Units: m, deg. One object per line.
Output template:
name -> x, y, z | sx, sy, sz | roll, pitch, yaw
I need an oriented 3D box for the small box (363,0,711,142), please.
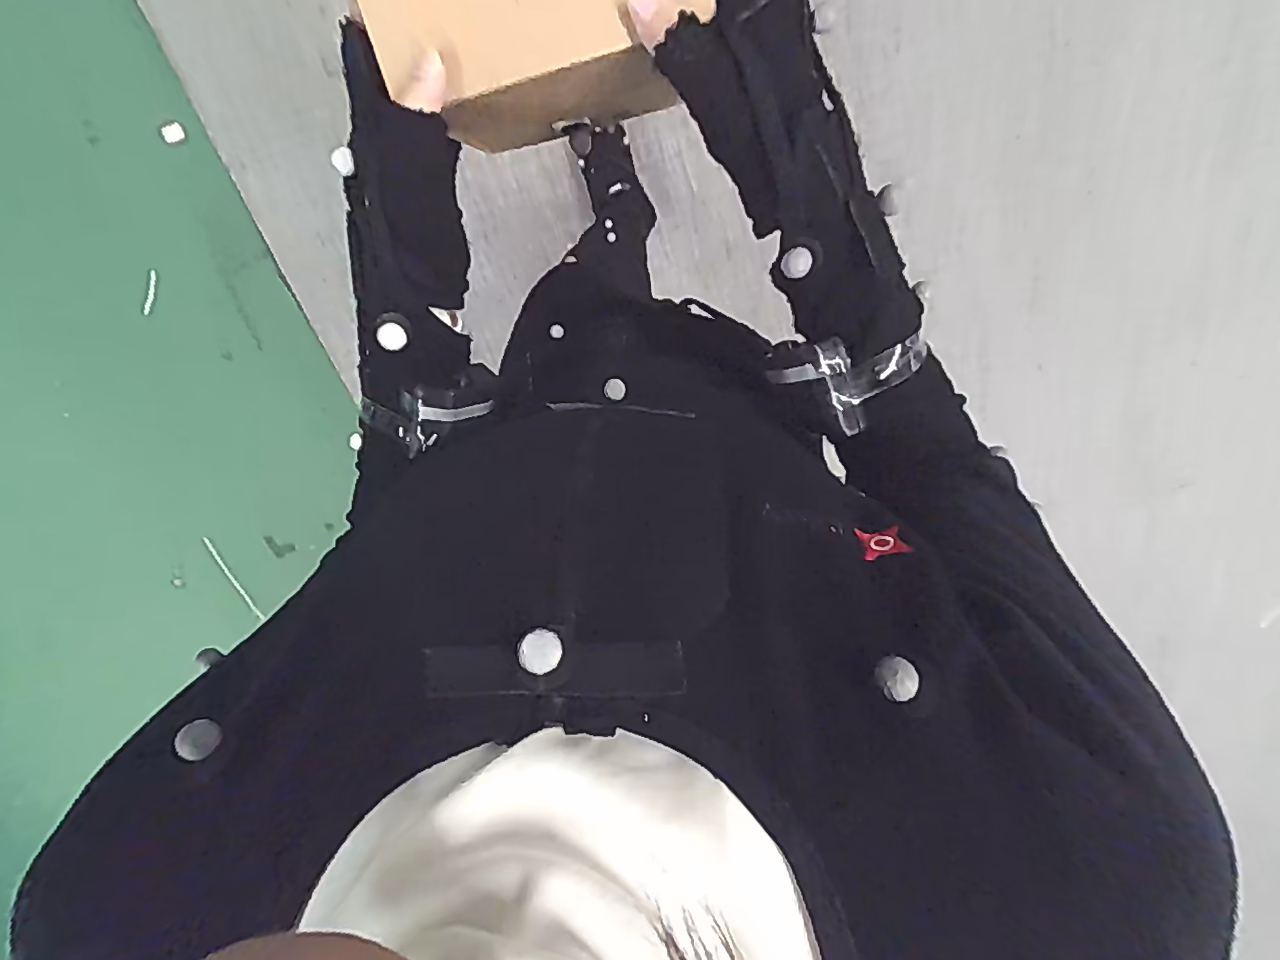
small box -> -0.058, -0.318, 0.304 | 0.168, 0.176, 0.179 | -10, 114, 9
